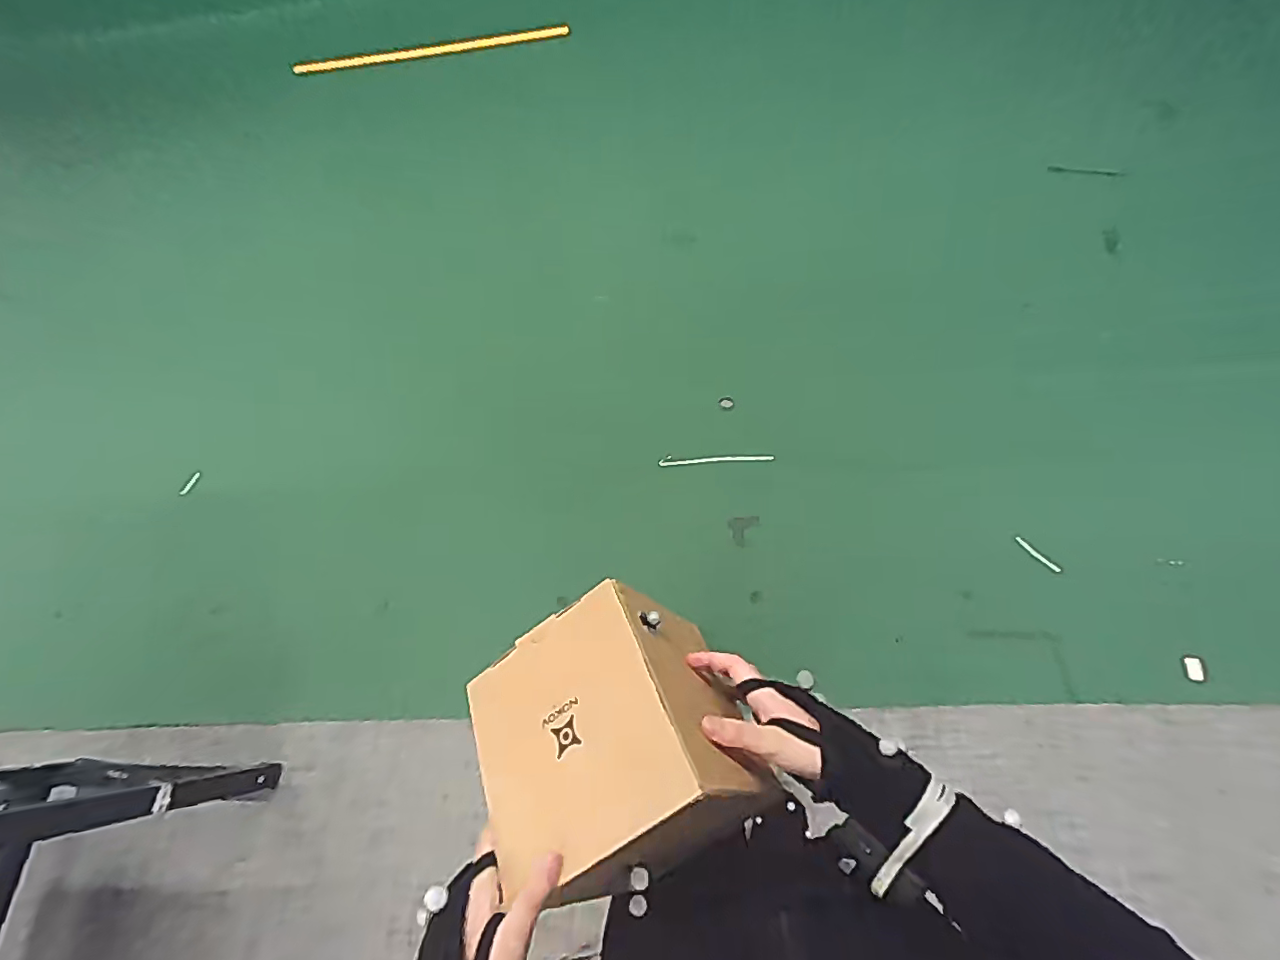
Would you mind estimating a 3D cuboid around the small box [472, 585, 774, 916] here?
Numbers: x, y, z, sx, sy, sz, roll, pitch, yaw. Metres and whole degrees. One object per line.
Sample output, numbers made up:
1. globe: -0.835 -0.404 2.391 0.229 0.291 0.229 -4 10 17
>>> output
1. small box: -0.013 0.225 0.463 0.168 0.176 0.179 -38 47 10
